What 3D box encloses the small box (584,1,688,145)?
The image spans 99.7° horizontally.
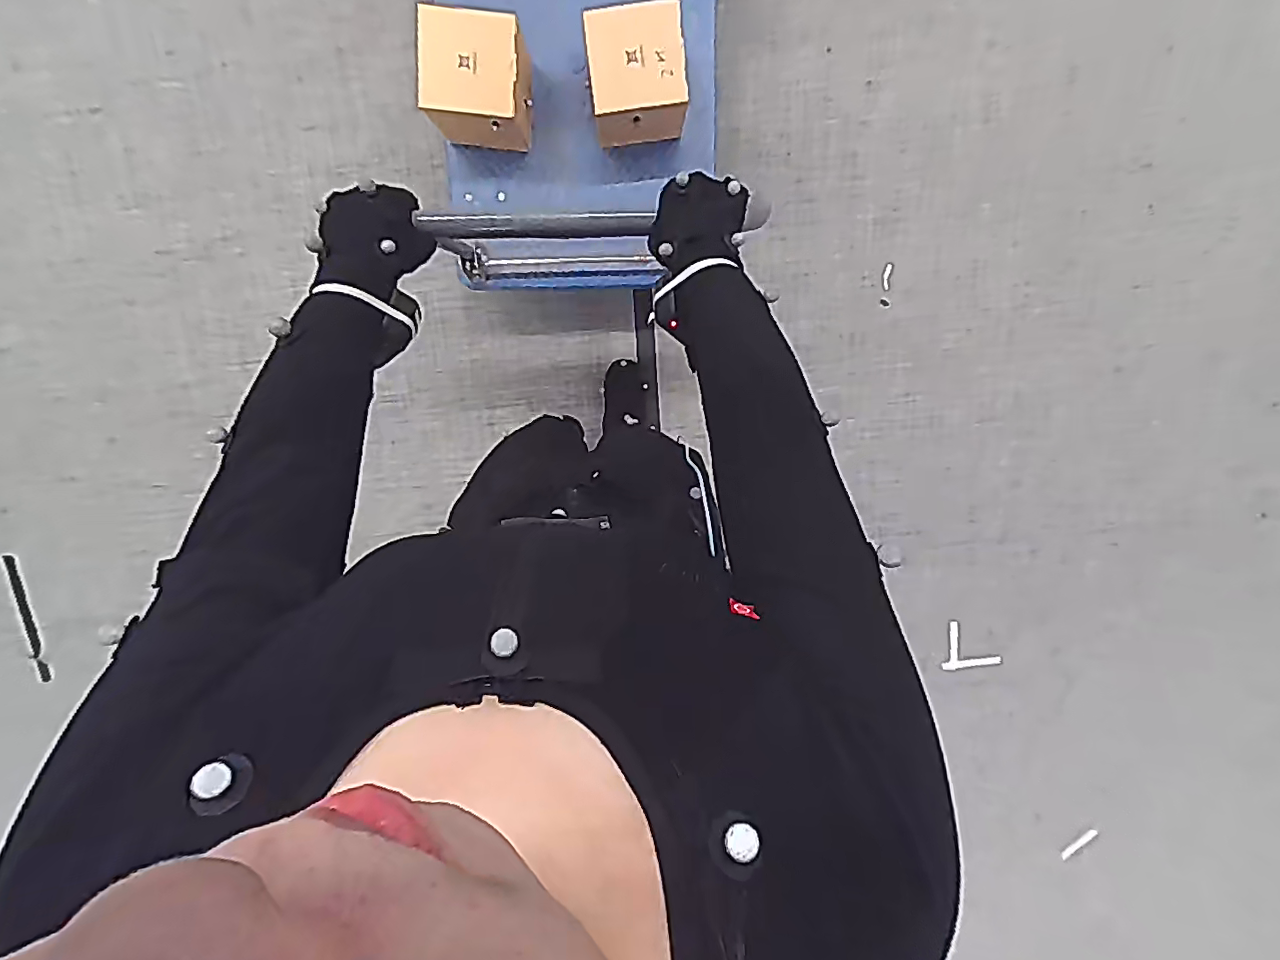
[{"bbox_3d":[-0.005,-0.778,1.054,0.179,0.176,0.168,-7,104,1],"label":"small box"}]

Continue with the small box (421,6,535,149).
[{"bbox_3d":[-0.309,-0.769,1.053,0.179,0.176,0.168,4,103,-3],"label":"small box"}]
